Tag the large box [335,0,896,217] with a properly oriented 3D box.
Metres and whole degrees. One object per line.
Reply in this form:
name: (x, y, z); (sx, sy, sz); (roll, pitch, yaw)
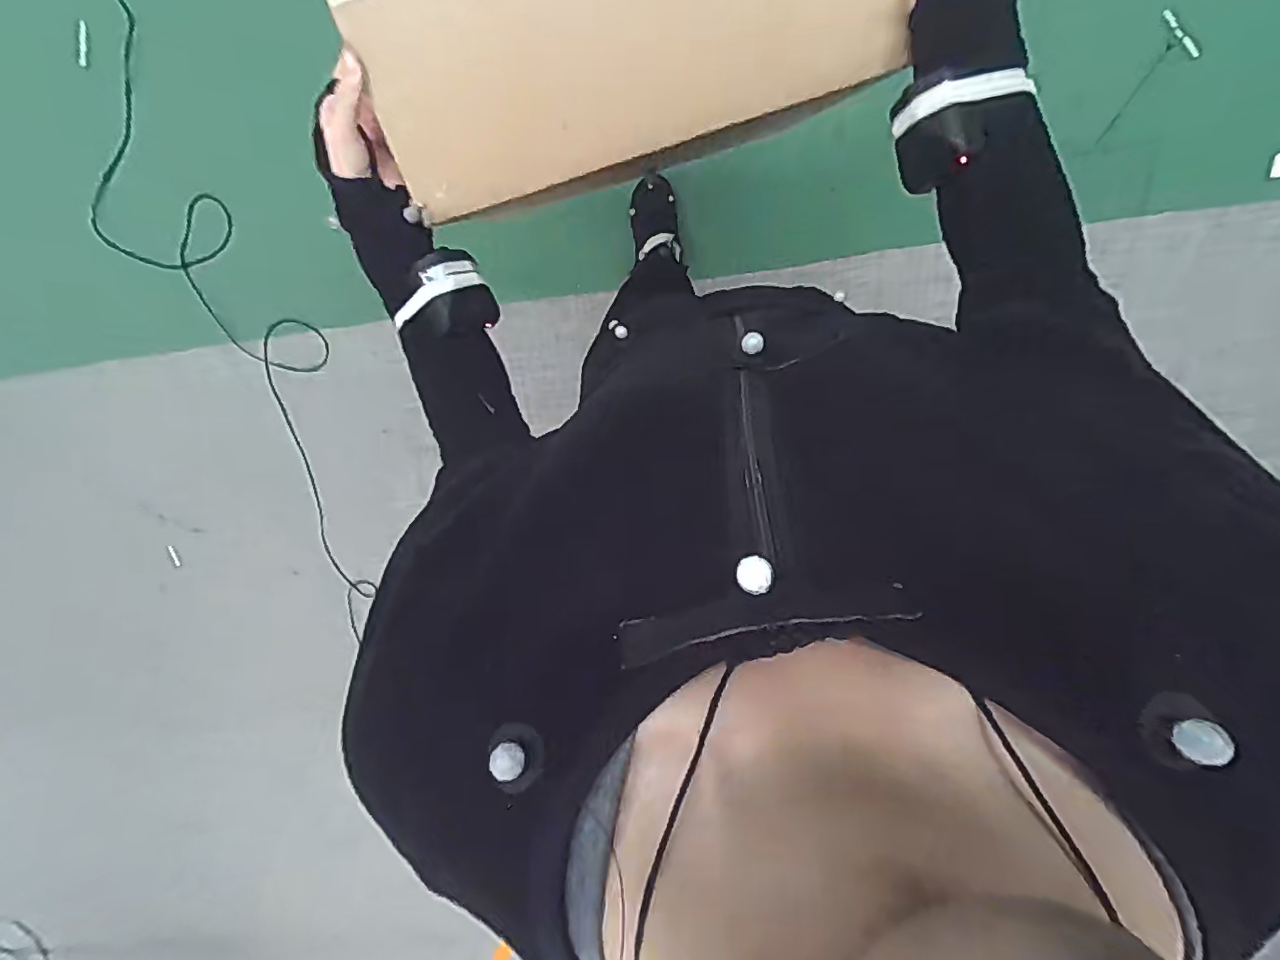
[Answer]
large box: (-0.036, -0.474, 0.504); (0.408, 0.320, 0.320); (-15, 115, 7)
